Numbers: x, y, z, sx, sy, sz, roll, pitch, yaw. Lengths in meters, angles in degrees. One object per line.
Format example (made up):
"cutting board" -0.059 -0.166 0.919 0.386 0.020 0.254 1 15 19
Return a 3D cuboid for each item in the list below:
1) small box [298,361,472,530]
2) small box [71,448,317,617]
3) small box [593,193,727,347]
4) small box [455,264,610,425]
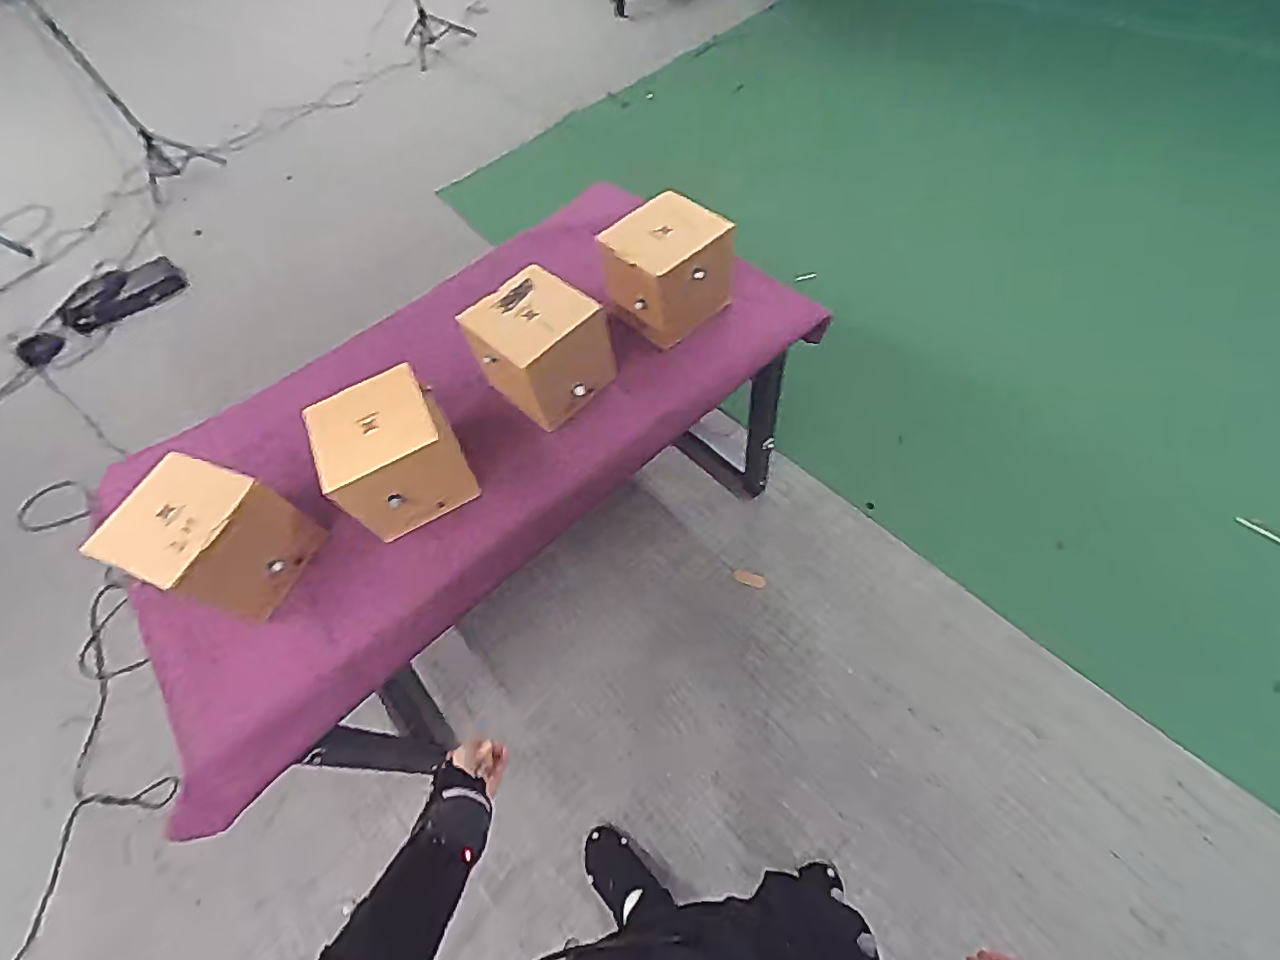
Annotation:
"small box" -0.385 -0.043 0.838 0.168 0.176 0.179 -28 59 -9
"small box" -0.629 0.082 0.788 0.179 0.176 0.168 16 63 15
"small box" 0.043 -0.376 0.982 0.179 0.176 0.168 -38 61 -15
"small box" -0.174 -0.225 0.919 0.179 0.176 0.168 39 71 25
